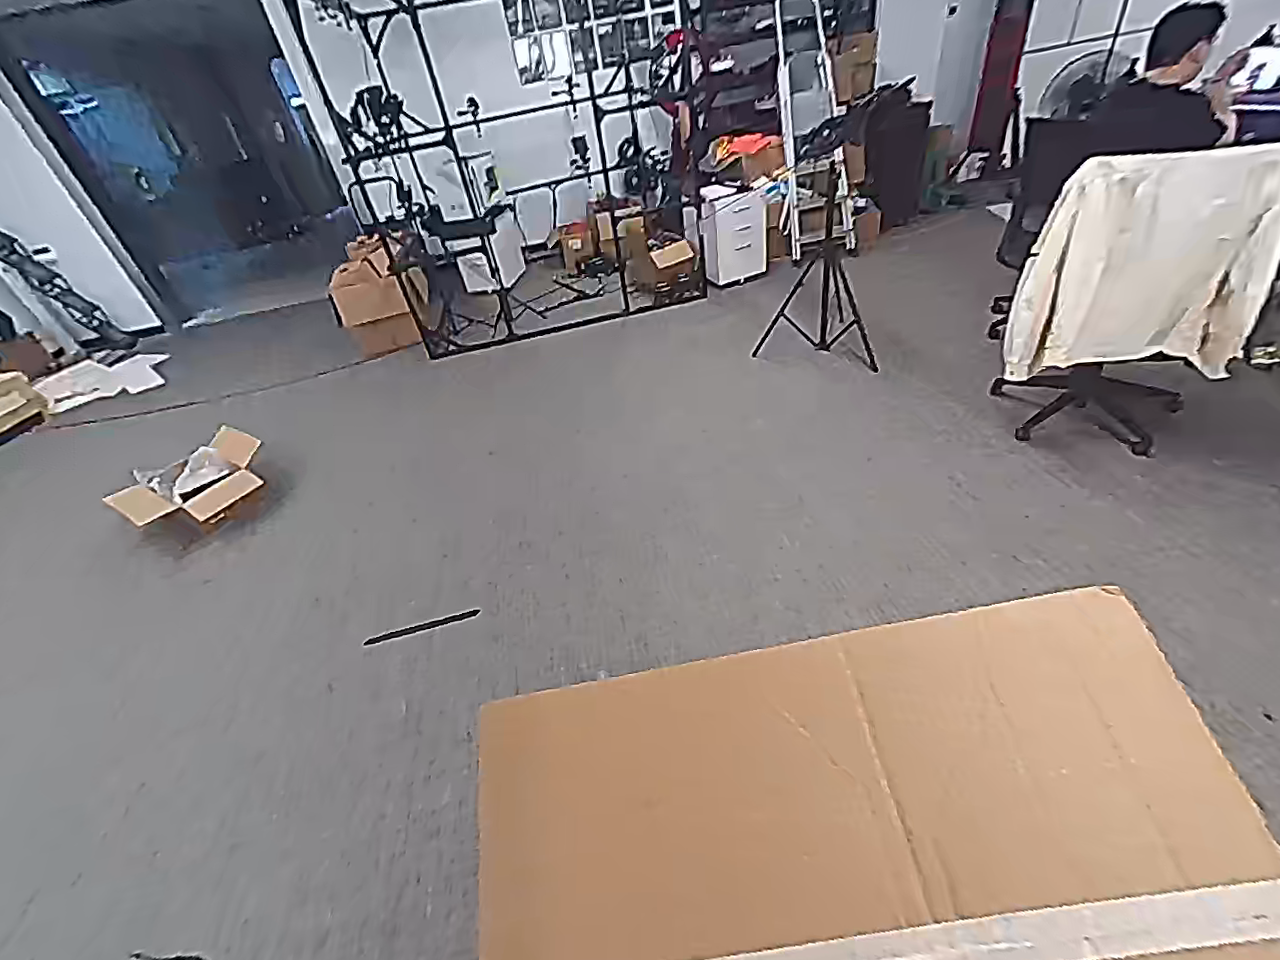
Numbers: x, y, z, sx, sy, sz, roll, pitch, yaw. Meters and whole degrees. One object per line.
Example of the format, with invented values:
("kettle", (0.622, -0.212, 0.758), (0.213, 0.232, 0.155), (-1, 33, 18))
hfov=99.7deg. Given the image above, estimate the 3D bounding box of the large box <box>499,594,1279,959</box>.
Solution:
("large box", (0.145, 0.314, 0.405), (0.408, 0.320, 0.320), (-13, 61, 6))
